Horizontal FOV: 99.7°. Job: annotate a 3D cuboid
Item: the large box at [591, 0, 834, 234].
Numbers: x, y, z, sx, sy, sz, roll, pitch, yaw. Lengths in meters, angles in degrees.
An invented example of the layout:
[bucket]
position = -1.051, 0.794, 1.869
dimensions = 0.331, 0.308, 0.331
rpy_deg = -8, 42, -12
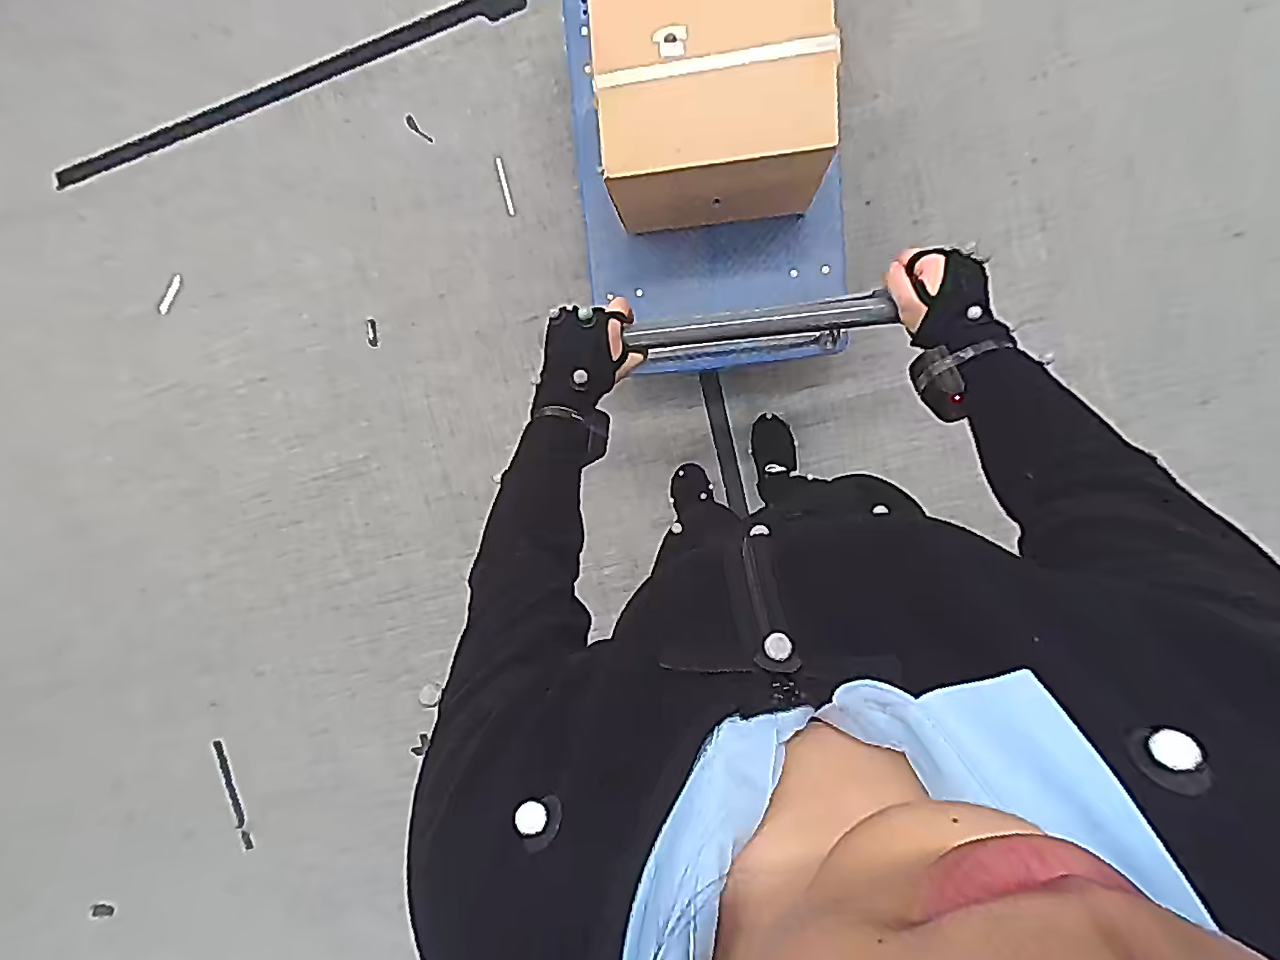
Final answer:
[large box]
position = 0.144, -0.723, 1.081
dimensions = 0.408, 0.320, 0.320
rpy_deg = -4, 95, 9
